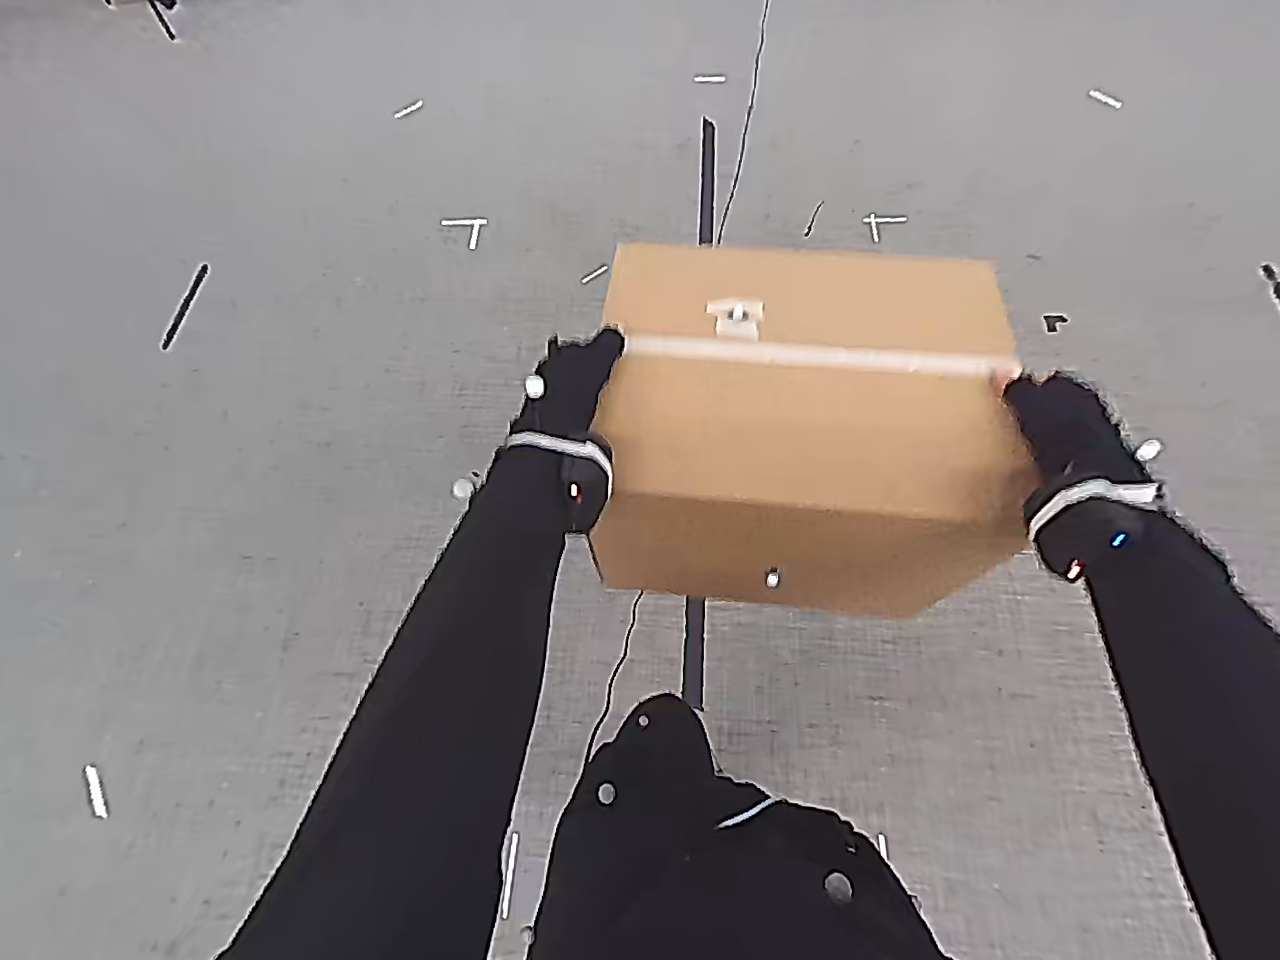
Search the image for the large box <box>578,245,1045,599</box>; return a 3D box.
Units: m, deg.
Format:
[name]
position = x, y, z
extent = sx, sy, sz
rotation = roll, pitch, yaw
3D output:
[large box]
position = 0.168, -0.055, 0.664
extent = 0.408, 0.320, 0.320
rotation = 5, 62, 7
